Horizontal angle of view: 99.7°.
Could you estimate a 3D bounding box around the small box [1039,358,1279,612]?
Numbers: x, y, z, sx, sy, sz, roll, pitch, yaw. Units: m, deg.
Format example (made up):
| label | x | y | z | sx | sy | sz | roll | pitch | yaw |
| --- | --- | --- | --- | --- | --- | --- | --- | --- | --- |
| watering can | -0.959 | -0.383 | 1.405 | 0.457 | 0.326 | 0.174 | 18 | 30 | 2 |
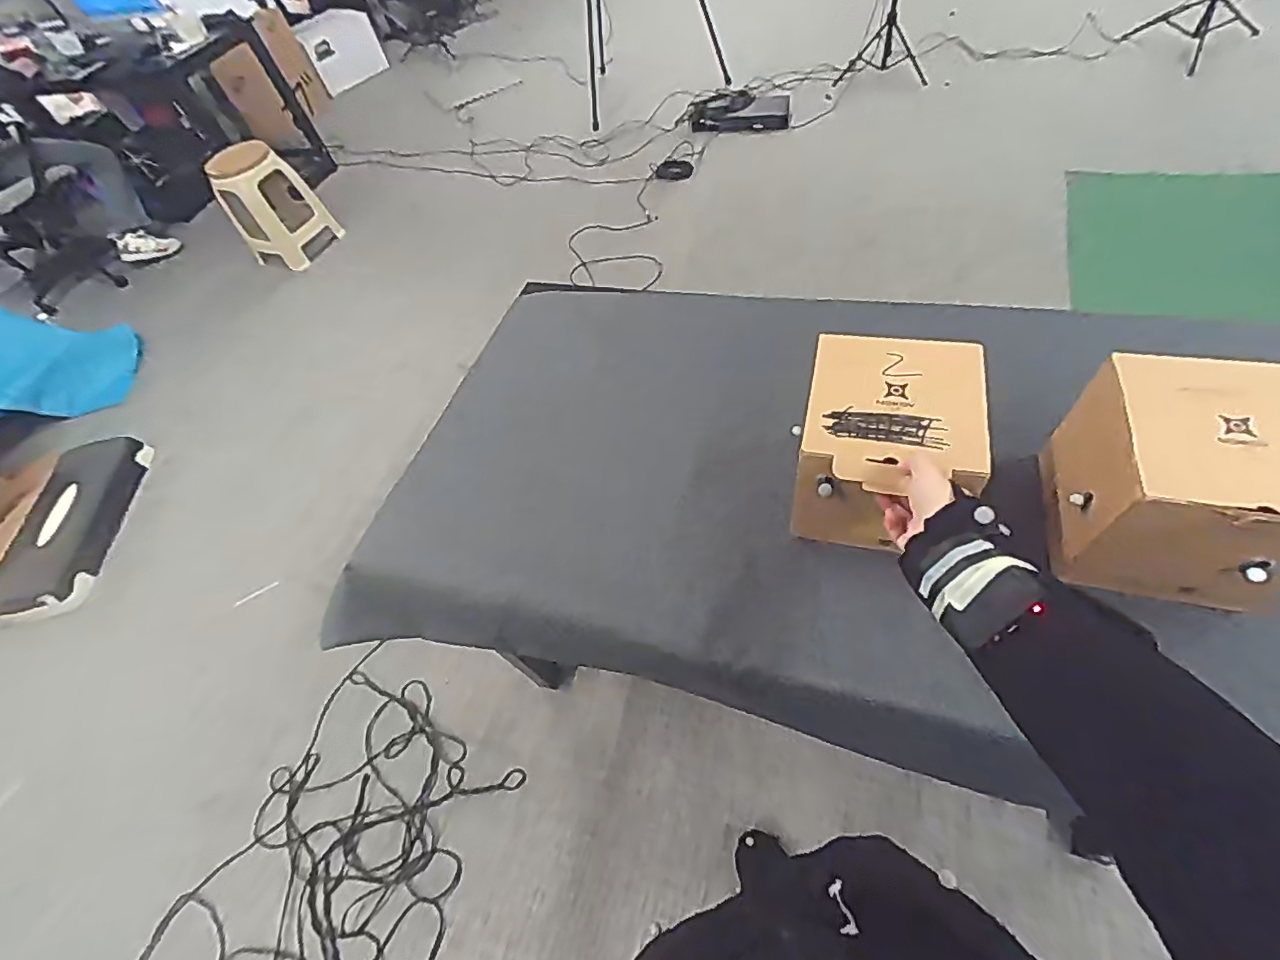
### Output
| label | x | y | z | sx | sy | sz | roll | pitch | yaw |
| --- | --- | --- | --- | --- | --- | --- | --- | --- | --- |
| small box | 0.525 | 0.008 | 0.527 | 0.168 | 0.176 | 0.179 | 9 | 57 | 15 |
